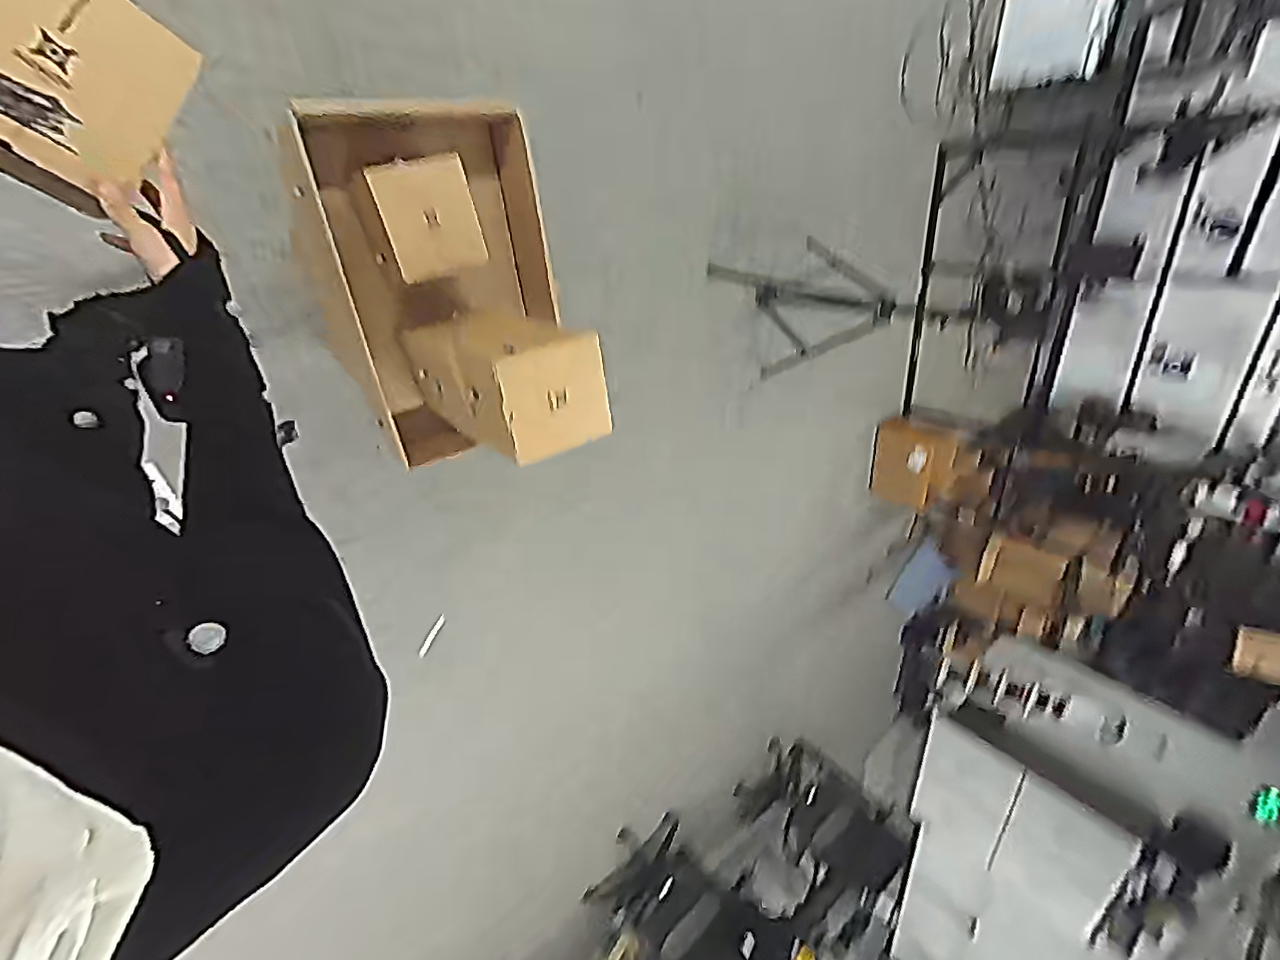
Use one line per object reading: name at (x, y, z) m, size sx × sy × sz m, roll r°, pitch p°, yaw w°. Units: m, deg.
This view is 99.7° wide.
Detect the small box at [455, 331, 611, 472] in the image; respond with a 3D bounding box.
small box at (-0.173, -0.137, 0.880) m, size 0.179 × 0.176 × 0.168 m, roll -24°, pitch 122°, yaw -29°

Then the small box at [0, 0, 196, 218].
small box at (-0.564, -0.368, 0.502) m, size 0.168 × 0.176 × 0.179 m, roll 27°, pitch 82°, yaw -53°
